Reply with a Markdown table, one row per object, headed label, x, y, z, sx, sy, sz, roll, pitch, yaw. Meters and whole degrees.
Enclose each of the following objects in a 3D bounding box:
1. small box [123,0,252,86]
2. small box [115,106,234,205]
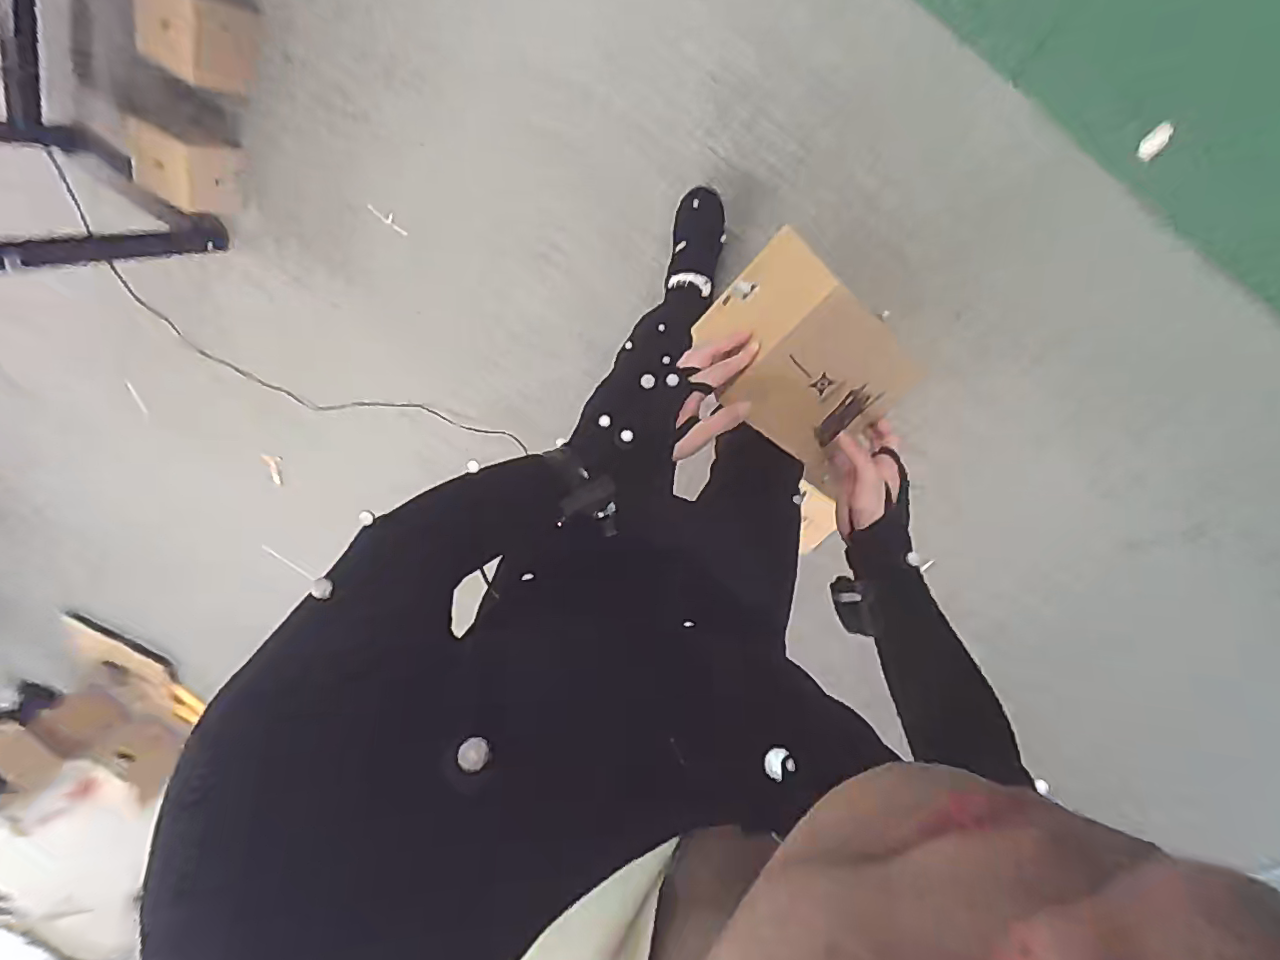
| label | x | y | z | sx | sy | sz | roll | pitch | yaw |
| --- | --- | --- | --- | --- | --- | --- | --- | --- | --- |
| small box | -1.051 | -1.070 | 1.266 | 0.168 | 0.176 | 0.179 | 31 | 121 | 1 |
| small box | -1.215 | -0.849 | 1.426 | 0.179 | 0.176 | 0.168 | 29 | 121 | 1 |
